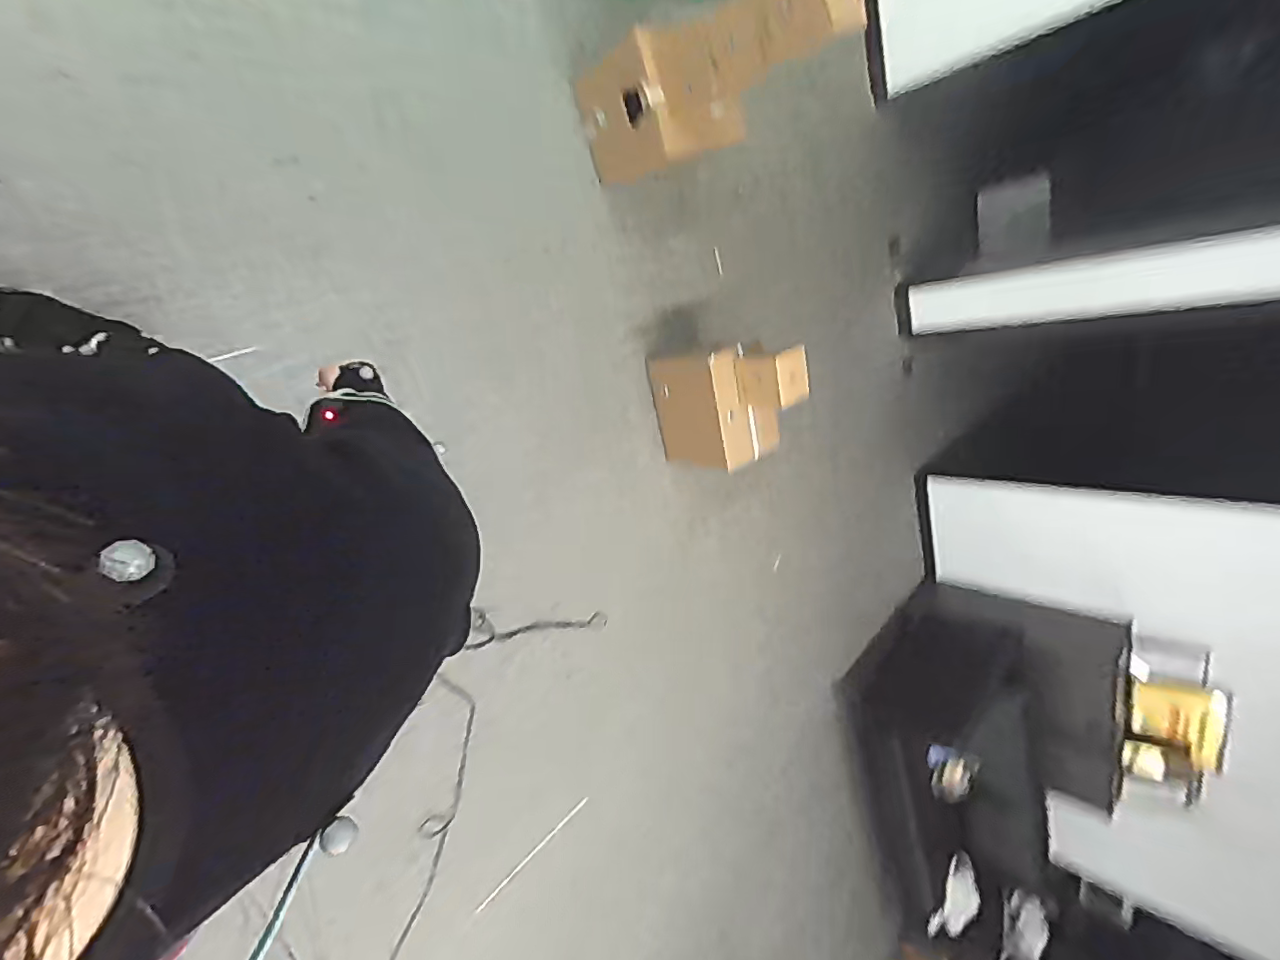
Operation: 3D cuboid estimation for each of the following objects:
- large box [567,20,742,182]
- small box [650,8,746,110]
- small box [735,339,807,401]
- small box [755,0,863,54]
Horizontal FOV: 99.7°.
[{"bbox_3d":[0.051,-1.182,1.697,0.408,0.320,0.320,-35,117,-33],"label":"large box"},{"bbox_3d":[0.156,-1.138,1.470,0.168,0.176,0.179,-36,117,-33],"label":"small box"},{"bbox_3d":[0.436,-0.367,1.821,0.179,0.176,0.168,-28,114,-37],"label":"small box"},{"bbox_3d":[0.375,-1.106,1.228,0.179,0.176,0.168,-38,119,-31],"label":"small box"}]
